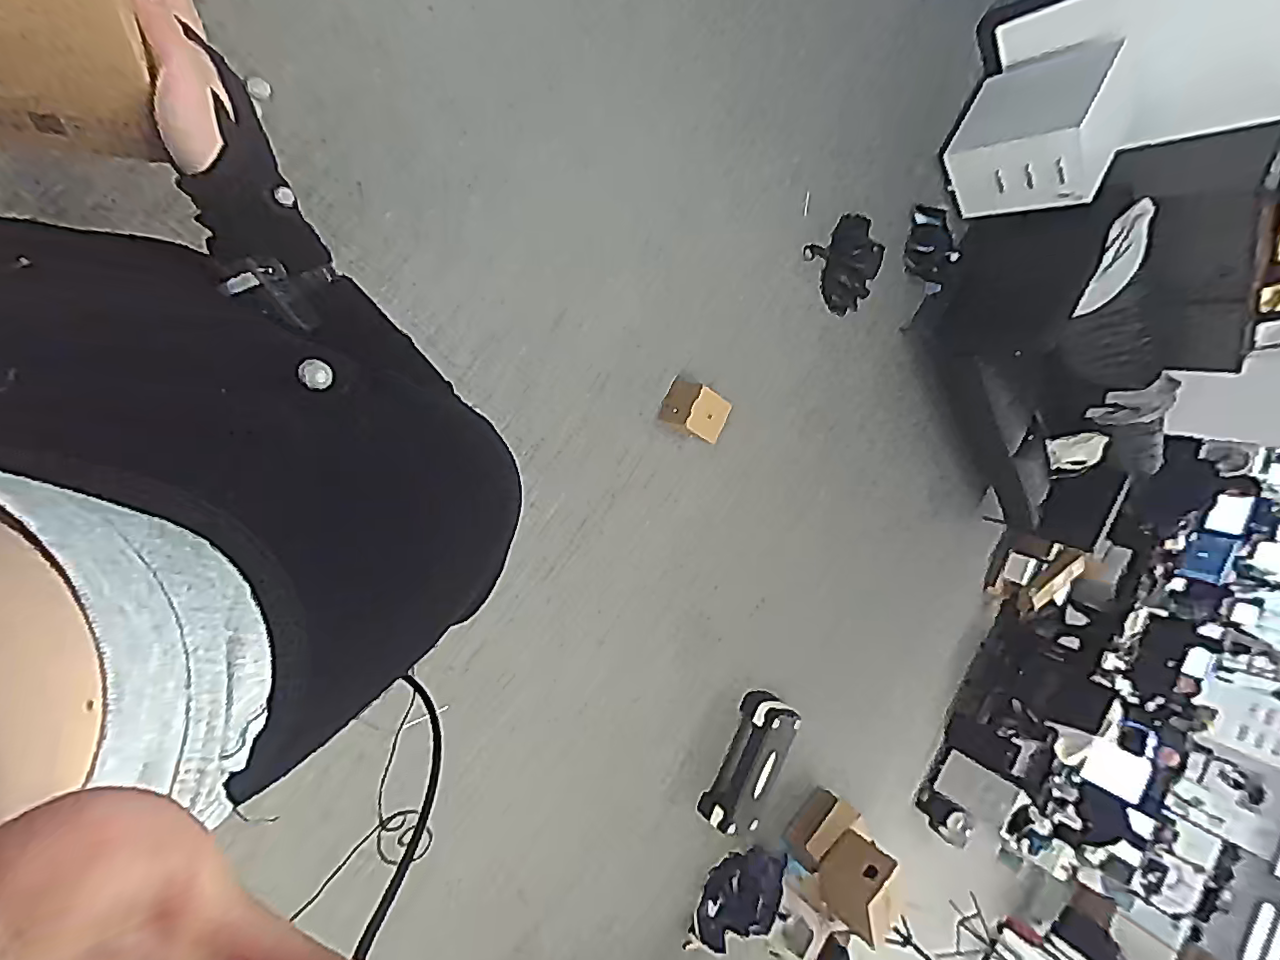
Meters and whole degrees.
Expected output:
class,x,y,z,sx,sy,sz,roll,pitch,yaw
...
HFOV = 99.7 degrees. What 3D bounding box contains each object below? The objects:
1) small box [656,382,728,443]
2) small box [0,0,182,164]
class,x,y,z,sx,sy,sz,roll,pitch,yaw
small box,0.189,-0.258,2.024,0.179,0.176,0.168,26,89,-41
small box,-0.372,-0.313,0.284,0.168,0.176,0.179,-6,75,-26
